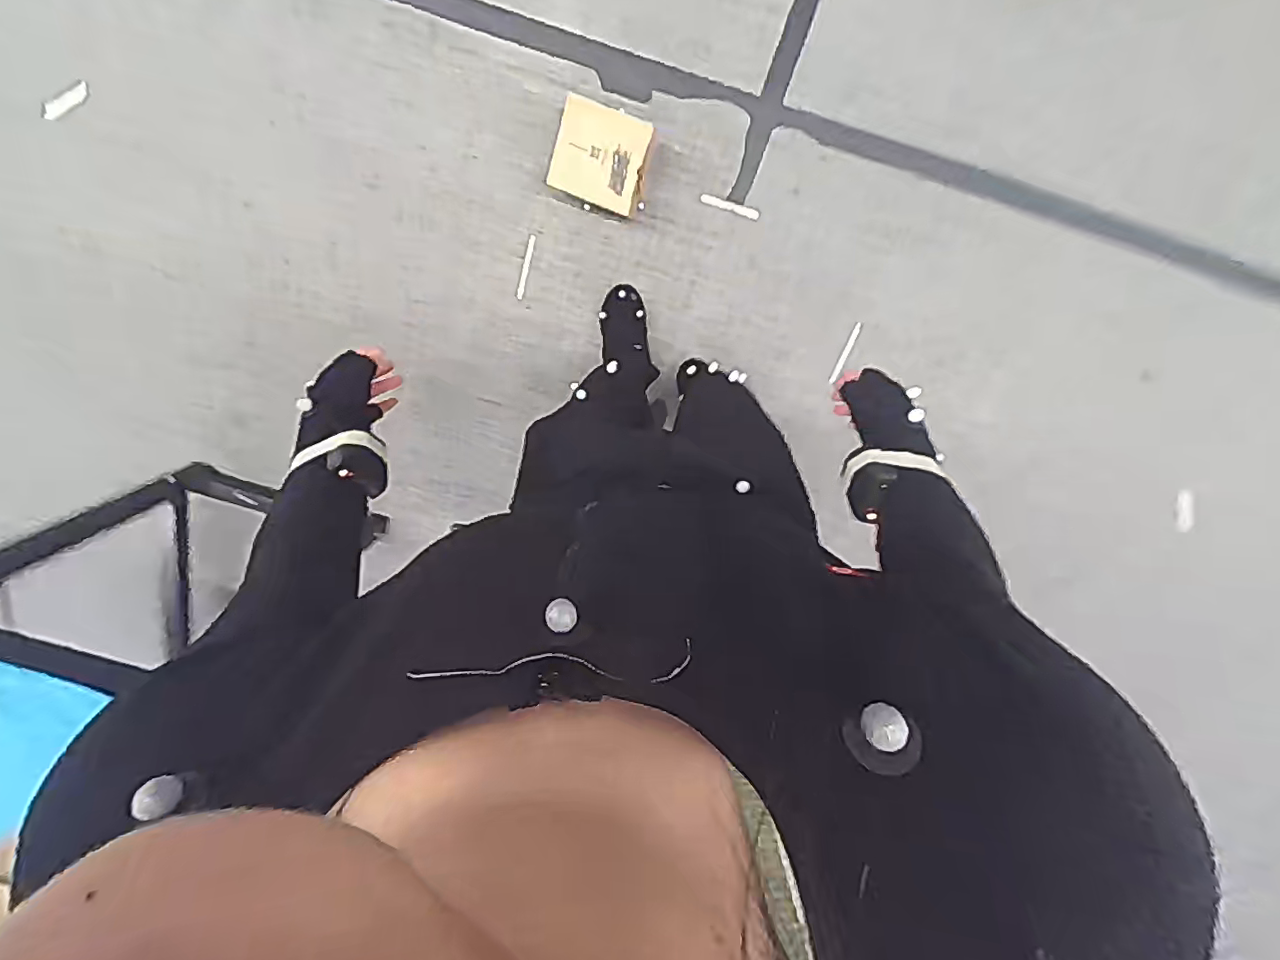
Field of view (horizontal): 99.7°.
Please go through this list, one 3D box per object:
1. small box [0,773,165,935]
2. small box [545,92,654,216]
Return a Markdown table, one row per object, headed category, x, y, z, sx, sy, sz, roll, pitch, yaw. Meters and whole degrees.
| category | x | y | z | sx | sy | sz | roll | pitch | yaw |
| --- | --- | --- | --- | --- | --- | --- | --- | --- | --- |
| small box | -1.026 | 0.680 | 0.982 | 0.179 | 0.176 | 0.168 | 17 | 113 | -3 |
| small box | -0.077 | -0.670 | 1.133 | 0.179 | 0.176 | 0.168 | 20 | 113 | -4 |
